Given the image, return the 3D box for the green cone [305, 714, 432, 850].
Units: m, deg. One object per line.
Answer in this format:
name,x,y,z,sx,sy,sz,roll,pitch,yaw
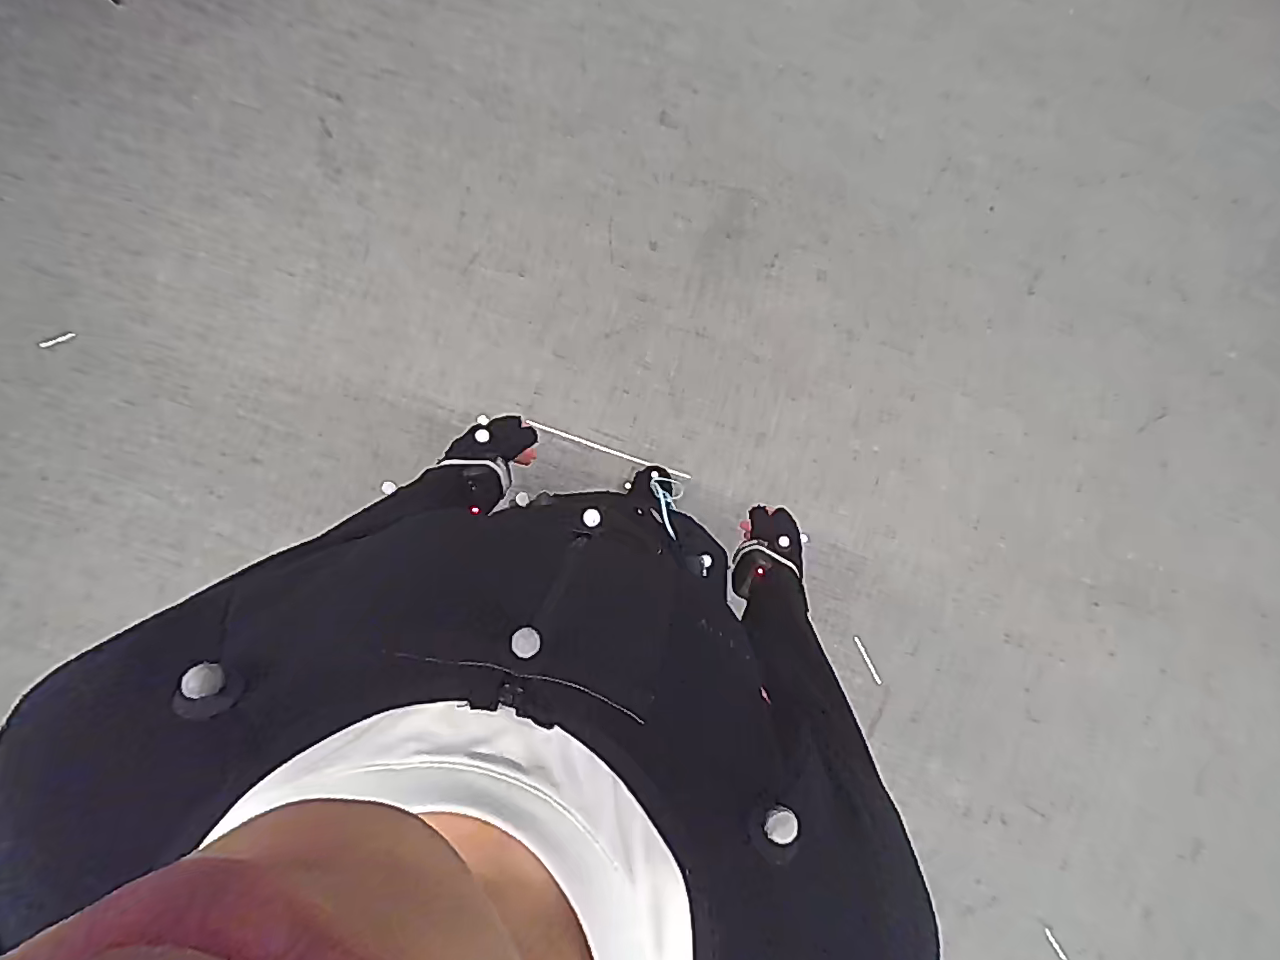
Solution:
green cone,-0.673,0.742,1.277,0.202,0.368,0.200,18,88,0
